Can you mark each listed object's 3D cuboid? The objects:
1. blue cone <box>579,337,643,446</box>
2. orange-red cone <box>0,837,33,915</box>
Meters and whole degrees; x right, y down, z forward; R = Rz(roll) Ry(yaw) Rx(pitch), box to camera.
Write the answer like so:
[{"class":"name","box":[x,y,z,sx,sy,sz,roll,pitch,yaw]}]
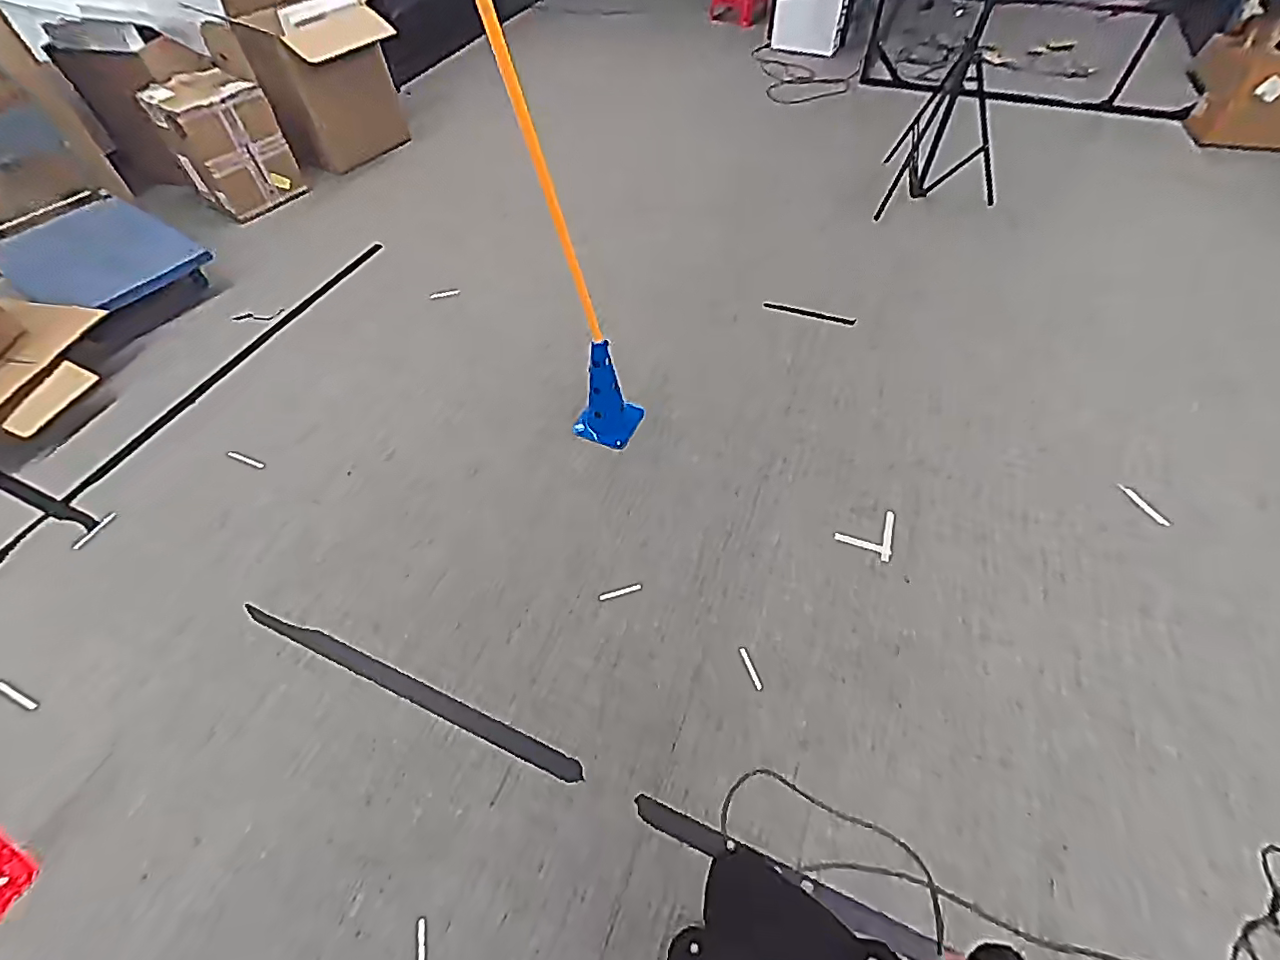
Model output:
[{"class":"blue cone","box":[-0.106,-0.301,1.729,0.192,0.380,0.193,22,58,16]},{"class":"orange-red cone","box":[-1.411,0.772,0.983,0.199,0.360,0.198,21,57,17]}]
